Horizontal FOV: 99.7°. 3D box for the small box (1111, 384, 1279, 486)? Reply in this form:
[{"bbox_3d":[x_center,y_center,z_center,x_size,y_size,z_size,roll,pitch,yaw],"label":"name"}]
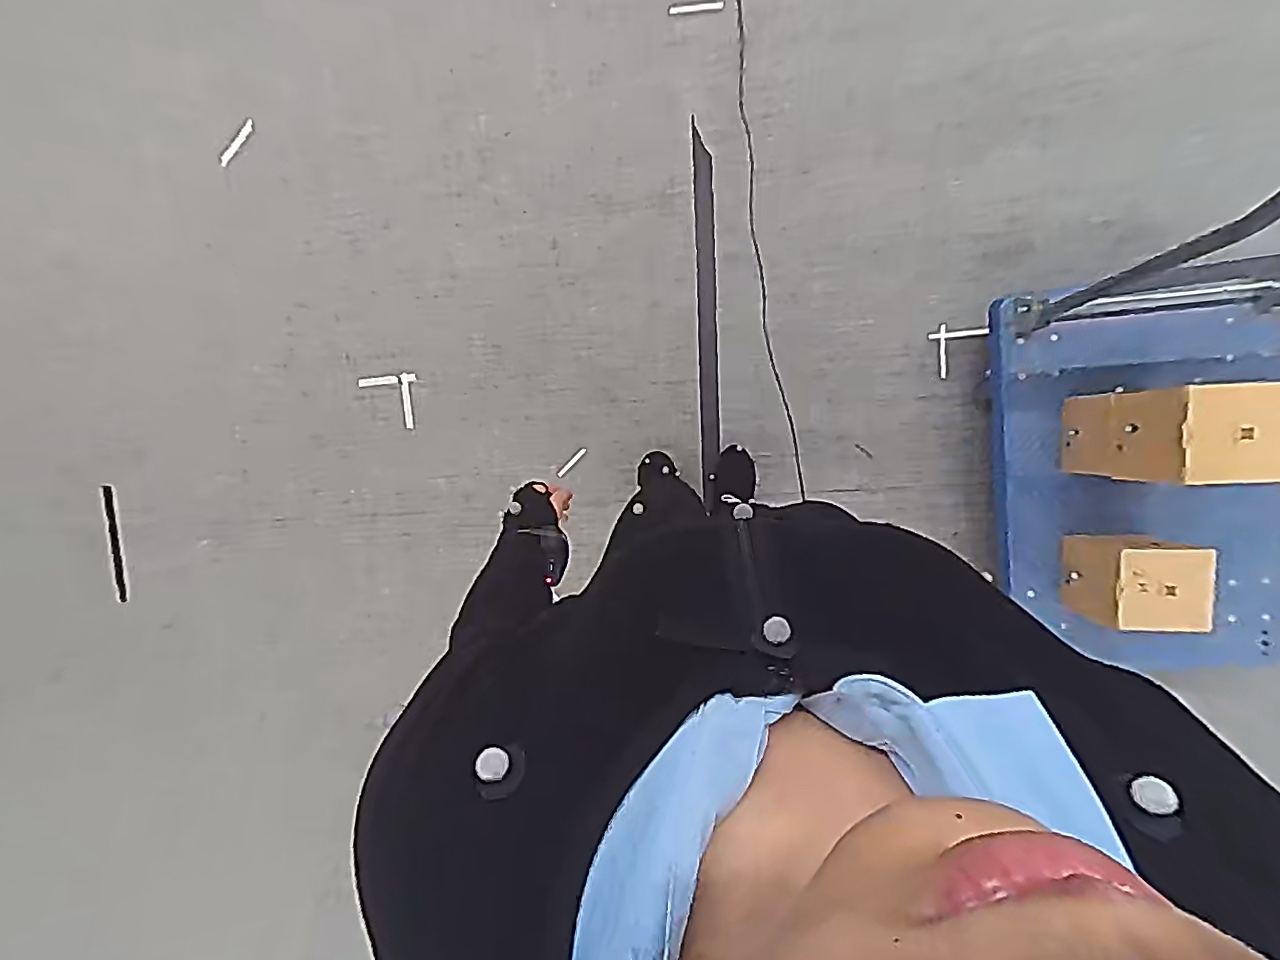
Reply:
[{"bbox_3d":[0.998,-0.081,0.962,0.179,0.176,0.168,-2,94,7],"label":"small box"}]

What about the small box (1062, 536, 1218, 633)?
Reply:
[{"bbox_3d":[1.045,0.213,1.142,0.179,0.176,0.168,0,93,5],"label":"small box"}]
